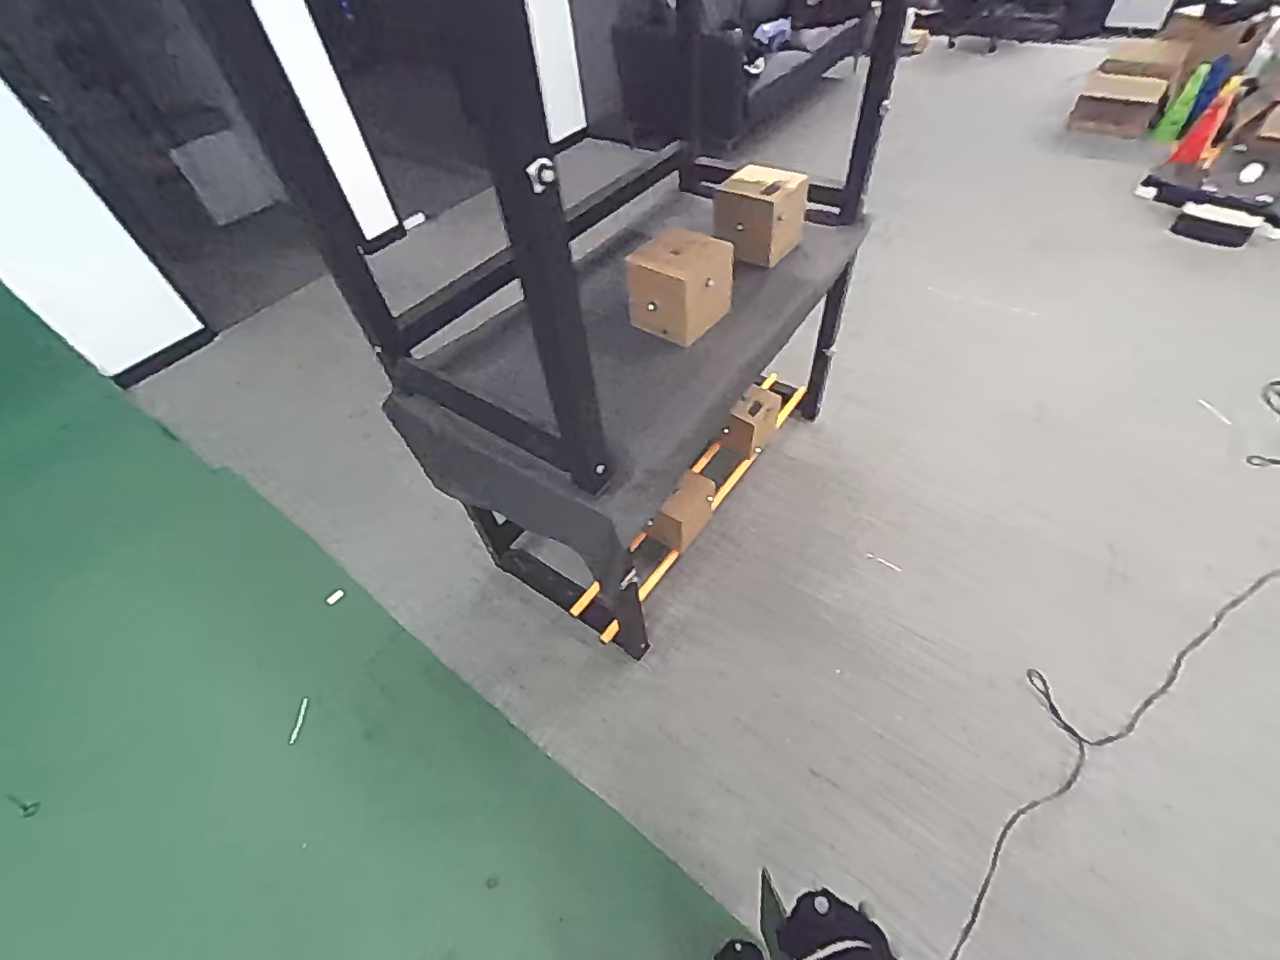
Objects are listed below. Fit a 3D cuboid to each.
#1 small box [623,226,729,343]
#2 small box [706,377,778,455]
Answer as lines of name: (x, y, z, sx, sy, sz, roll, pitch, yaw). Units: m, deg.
small box: (0.085, -0.437, 1.216, 0.168, 0.176, 0.179, 30, 59, 27)
small box: (0.339, -0.209, 1.812, 0.179, 0.176, 0.168, 31, 59, 26)
